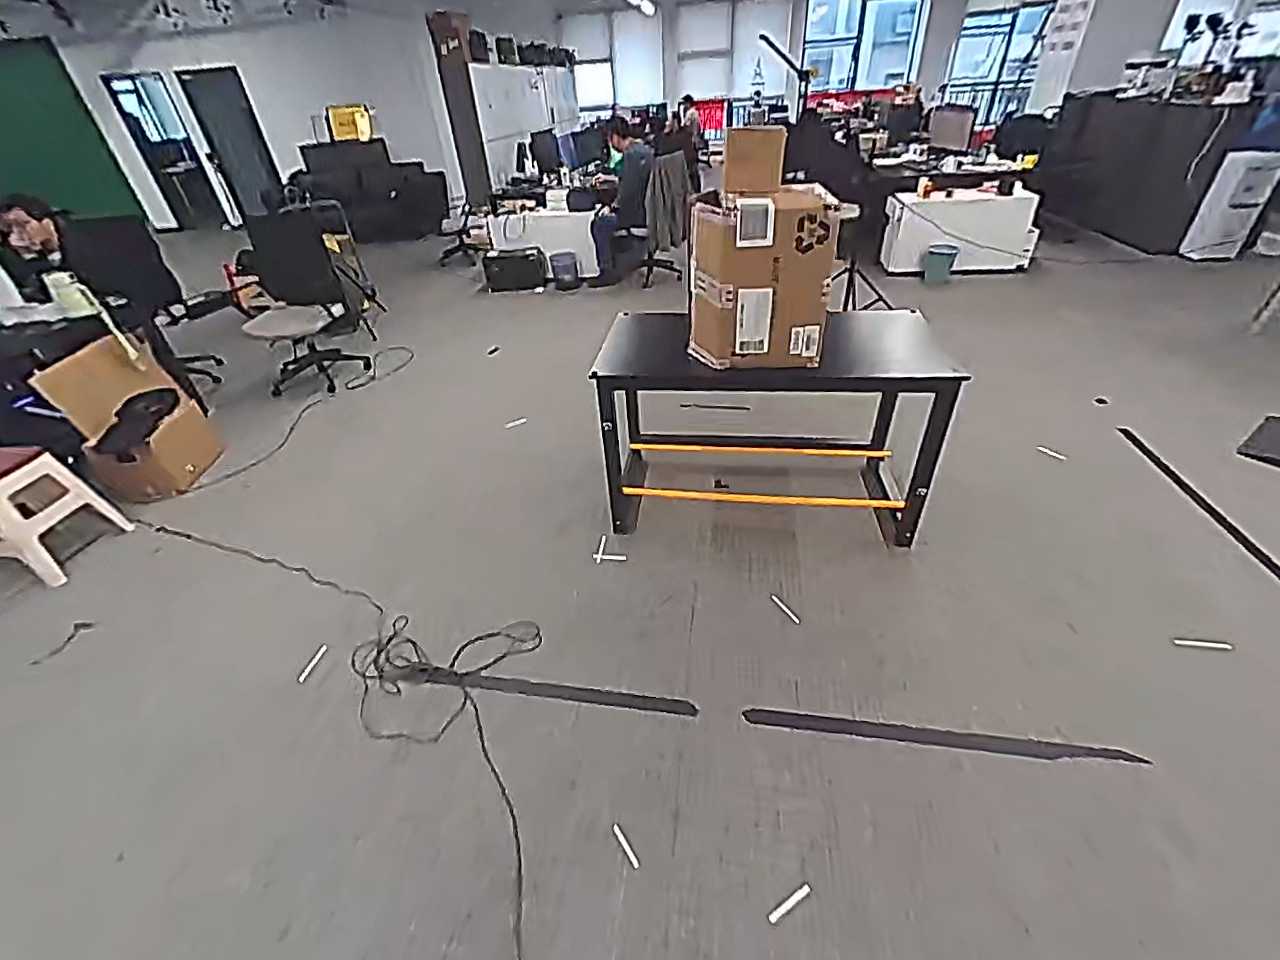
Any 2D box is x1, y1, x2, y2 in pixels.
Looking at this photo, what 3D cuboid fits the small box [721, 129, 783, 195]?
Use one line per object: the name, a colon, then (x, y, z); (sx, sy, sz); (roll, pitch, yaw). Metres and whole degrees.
small box: (0.344, -0.999, 1.697); (0.179, 0.176, 0.168); (0, 34, 5)
